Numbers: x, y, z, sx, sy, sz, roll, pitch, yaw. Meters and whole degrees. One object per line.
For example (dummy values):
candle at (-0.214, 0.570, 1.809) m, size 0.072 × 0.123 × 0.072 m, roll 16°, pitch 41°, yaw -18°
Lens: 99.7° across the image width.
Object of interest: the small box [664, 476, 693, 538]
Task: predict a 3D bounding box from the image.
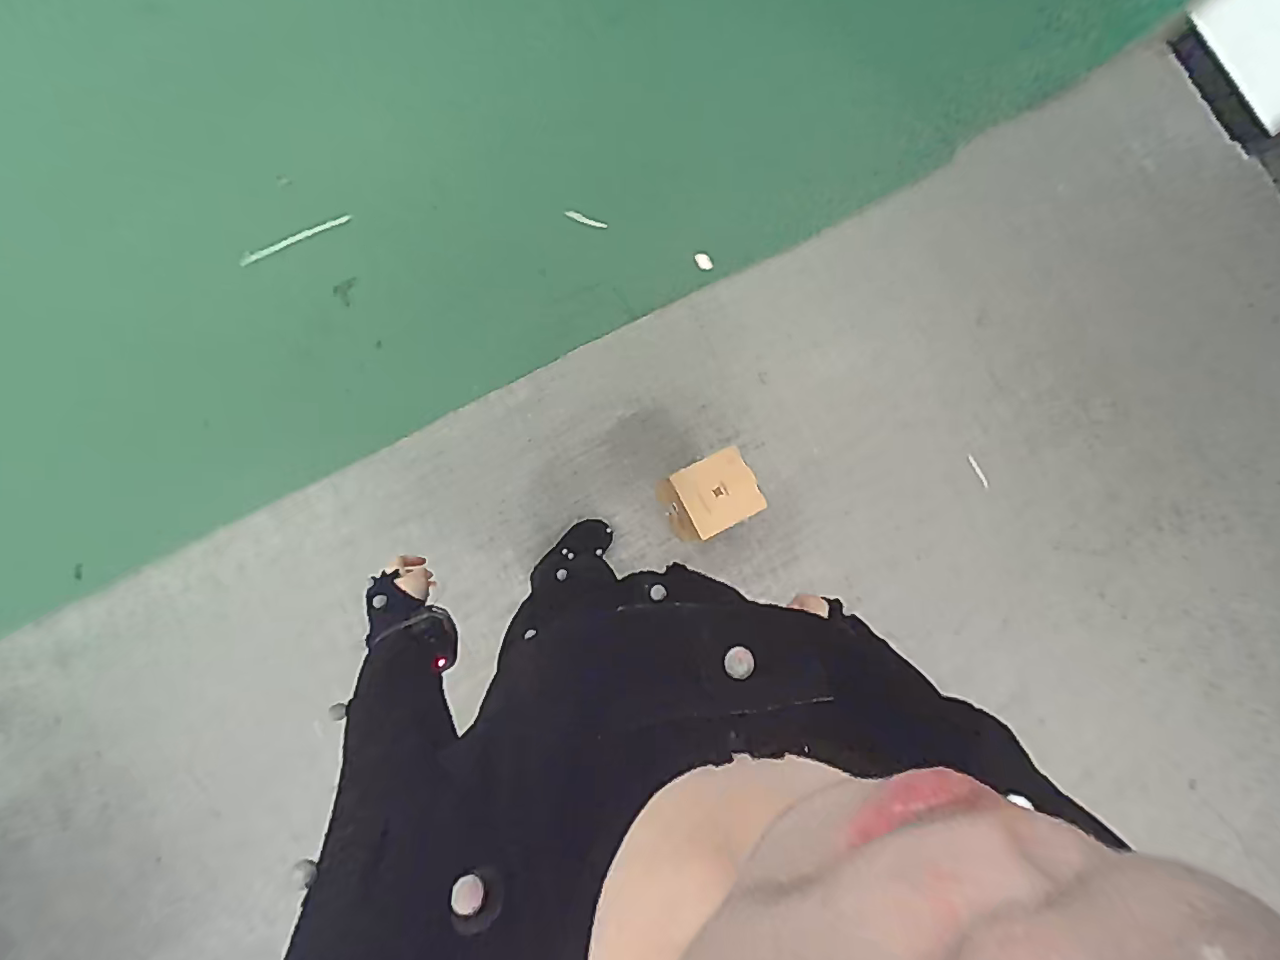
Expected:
small box at (0.171, 0.051, 1.448) m, size 0.179 × 0.176 × 0.168 m, roll -23°, pitch 86°, yaw -5°

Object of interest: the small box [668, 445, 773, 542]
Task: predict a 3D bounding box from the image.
small box at (0.182, 0.035, 1.286) m, size 0.179 × 0.176 × 0.168 m, roll -27°, pitch 85°, yaw -6°
